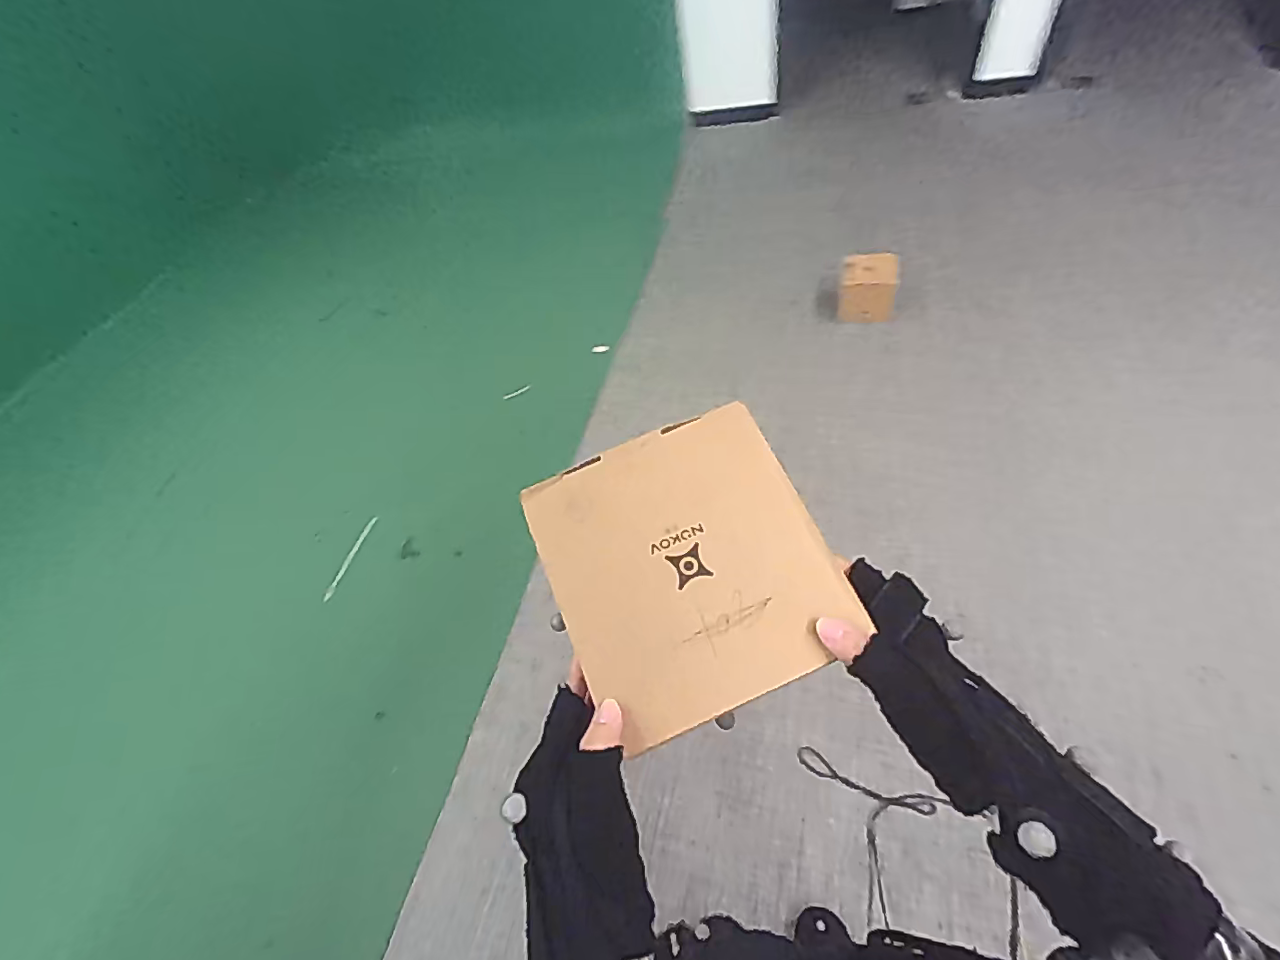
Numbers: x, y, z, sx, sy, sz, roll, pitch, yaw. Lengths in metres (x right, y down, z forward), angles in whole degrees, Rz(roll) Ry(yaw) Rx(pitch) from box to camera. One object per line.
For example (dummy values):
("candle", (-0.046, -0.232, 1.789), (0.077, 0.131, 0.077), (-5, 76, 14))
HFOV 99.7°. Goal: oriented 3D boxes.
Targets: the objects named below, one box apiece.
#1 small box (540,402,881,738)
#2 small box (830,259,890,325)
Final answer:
("small box", (0.041, 0.075, 0.415), (0.168, 0.176, 0.179), (-22, 69, -4))
("small box", (0.798, -0.681, 1.966), (0.179, 0.176, 0.168), (5, 57, 16))
